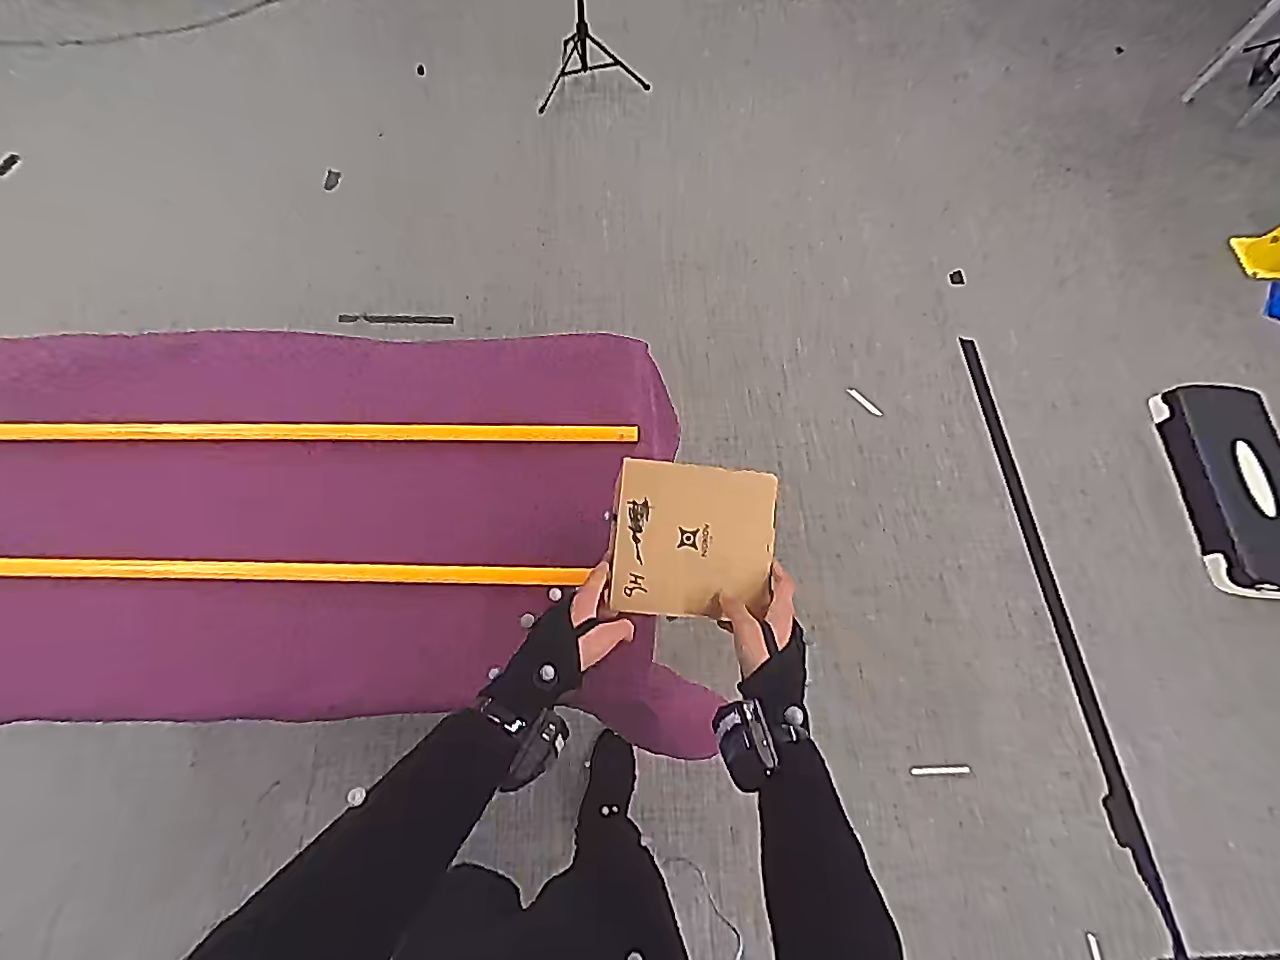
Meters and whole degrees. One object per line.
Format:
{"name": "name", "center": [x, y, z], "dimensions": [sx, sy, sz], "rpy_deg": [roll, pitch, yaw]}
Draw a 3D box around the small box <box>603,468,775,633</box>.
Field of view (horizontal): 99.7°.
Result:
{"name": "small box", "center": [0.051, 0.086, 0.673], "dimensions": [0.179, 0.176, 0.168], "rpy_deg": [7, 82, -4]}
